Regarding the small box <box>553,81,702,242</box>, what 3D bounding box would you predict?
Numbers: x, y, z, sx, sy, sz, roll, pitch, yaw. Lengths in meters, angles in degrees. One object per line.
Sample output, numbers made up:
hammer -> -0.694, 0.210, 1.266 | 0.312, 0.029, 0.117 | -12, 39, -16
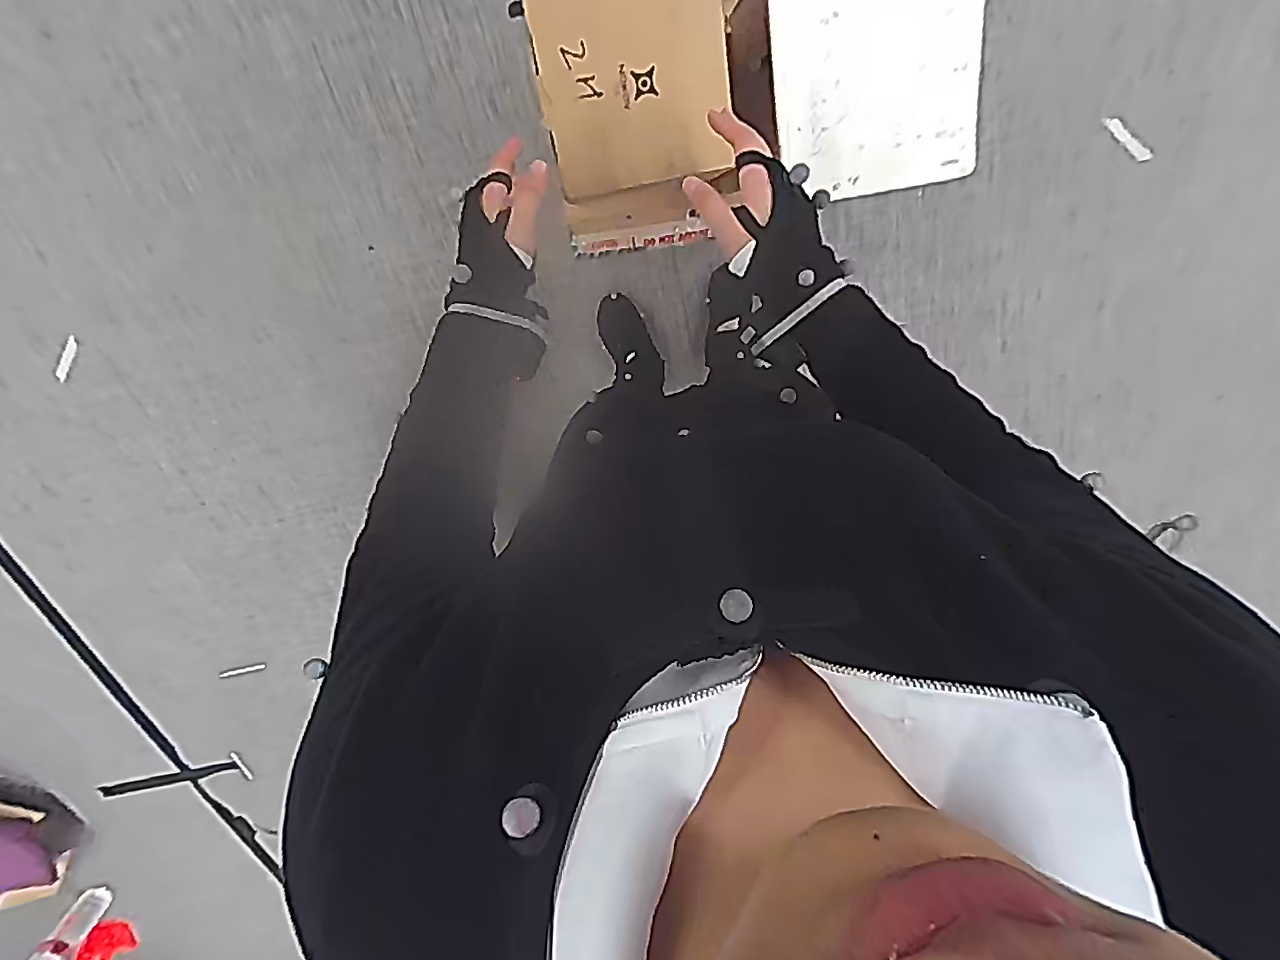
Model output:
small box -> -0.015, -0.430, 0.750 | 0.179, 0.176, 0.168 | -6, 115, 1

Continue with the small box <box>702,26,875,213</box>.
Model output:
small box -> 0.196, -0.477, 0.743 | 0.179, 0.176, 0.168 | -15, 115, 2
